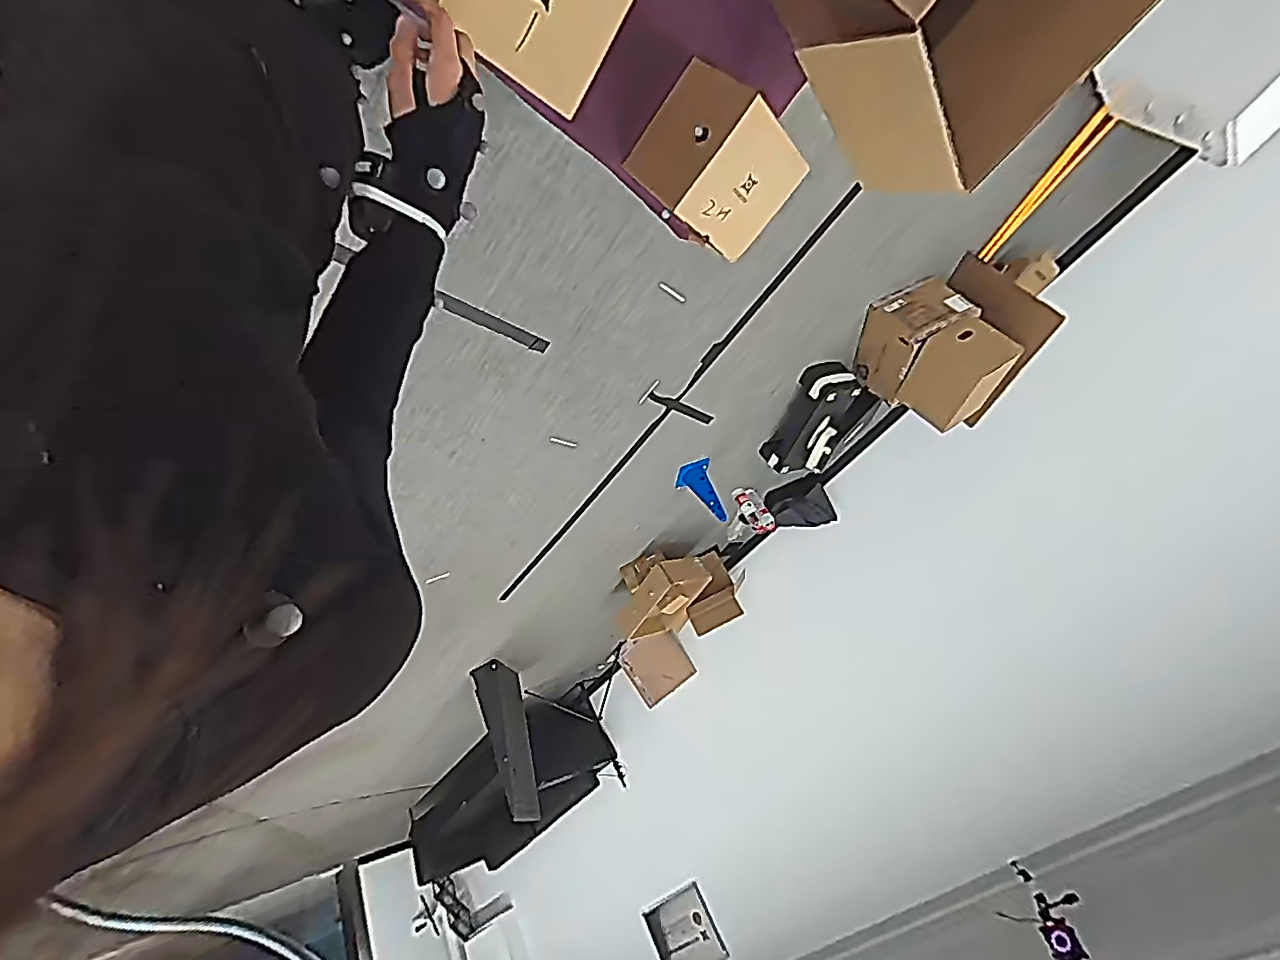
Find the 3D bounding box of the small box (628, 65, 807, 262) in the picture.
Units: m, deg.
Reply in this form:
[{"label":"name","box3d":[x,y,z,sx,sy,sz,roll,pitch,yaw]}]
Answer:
[{"label":"small box","box3d":[0.112,-0.481,0.827,0.168,0.176,0.179,14,126,-48]}]

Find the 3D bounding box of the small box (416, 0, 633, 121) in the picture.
[{"label":"small box","box3d":[-0.124,-0.531,0.560,0.168,0.176,0.179,8,131,-45]}]
